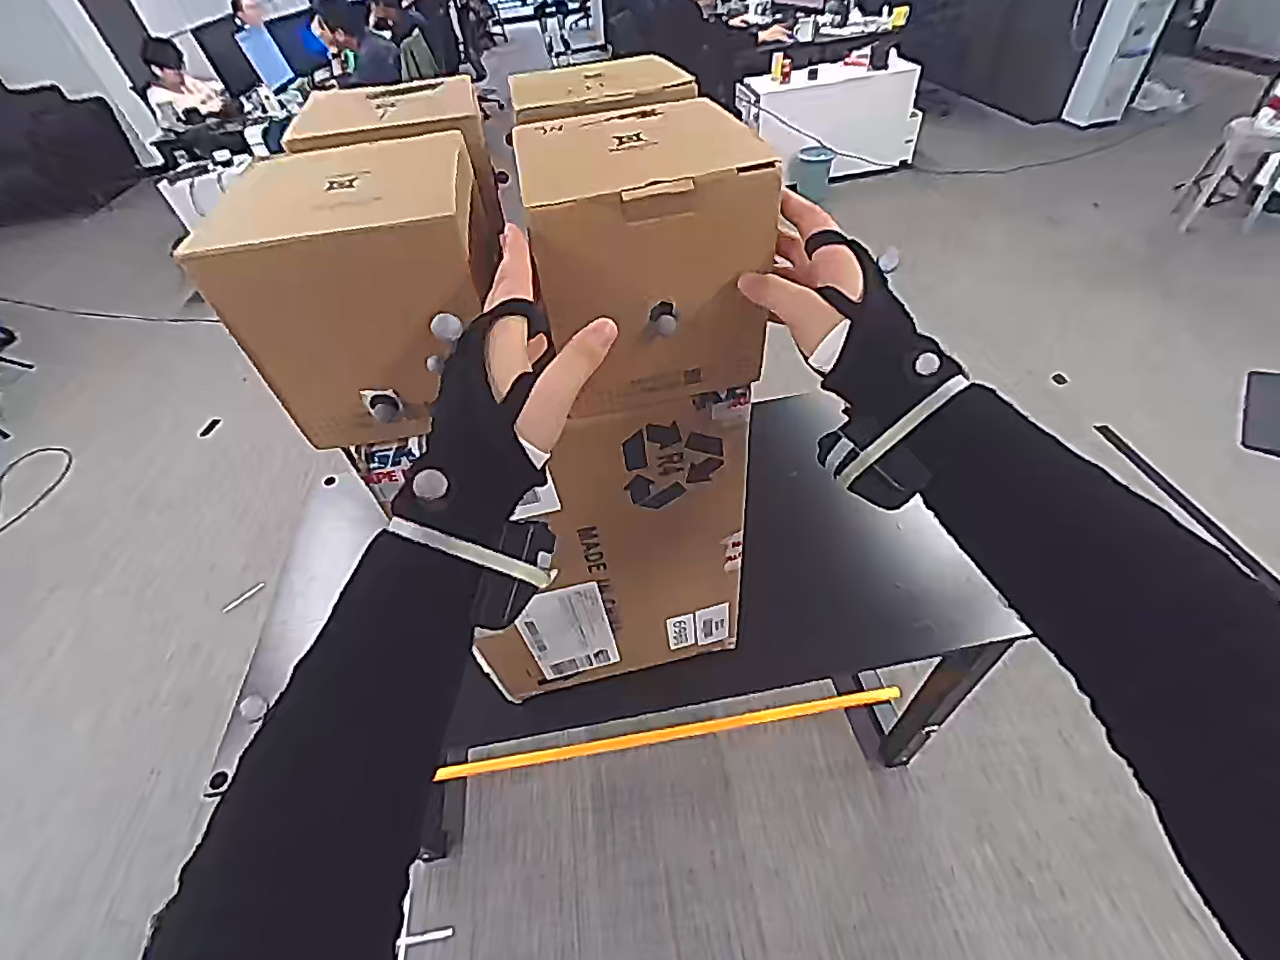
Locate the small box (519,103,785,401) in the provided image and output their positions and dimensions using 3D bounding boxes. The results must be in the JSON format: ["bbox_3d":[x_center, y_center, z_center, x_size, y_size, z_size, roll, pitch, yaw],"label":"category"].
[{"bbox_3d":[0.002,-0.180,0.444,0.168,0.176,0.179,-10,48,-6],"label":"small box"}]
